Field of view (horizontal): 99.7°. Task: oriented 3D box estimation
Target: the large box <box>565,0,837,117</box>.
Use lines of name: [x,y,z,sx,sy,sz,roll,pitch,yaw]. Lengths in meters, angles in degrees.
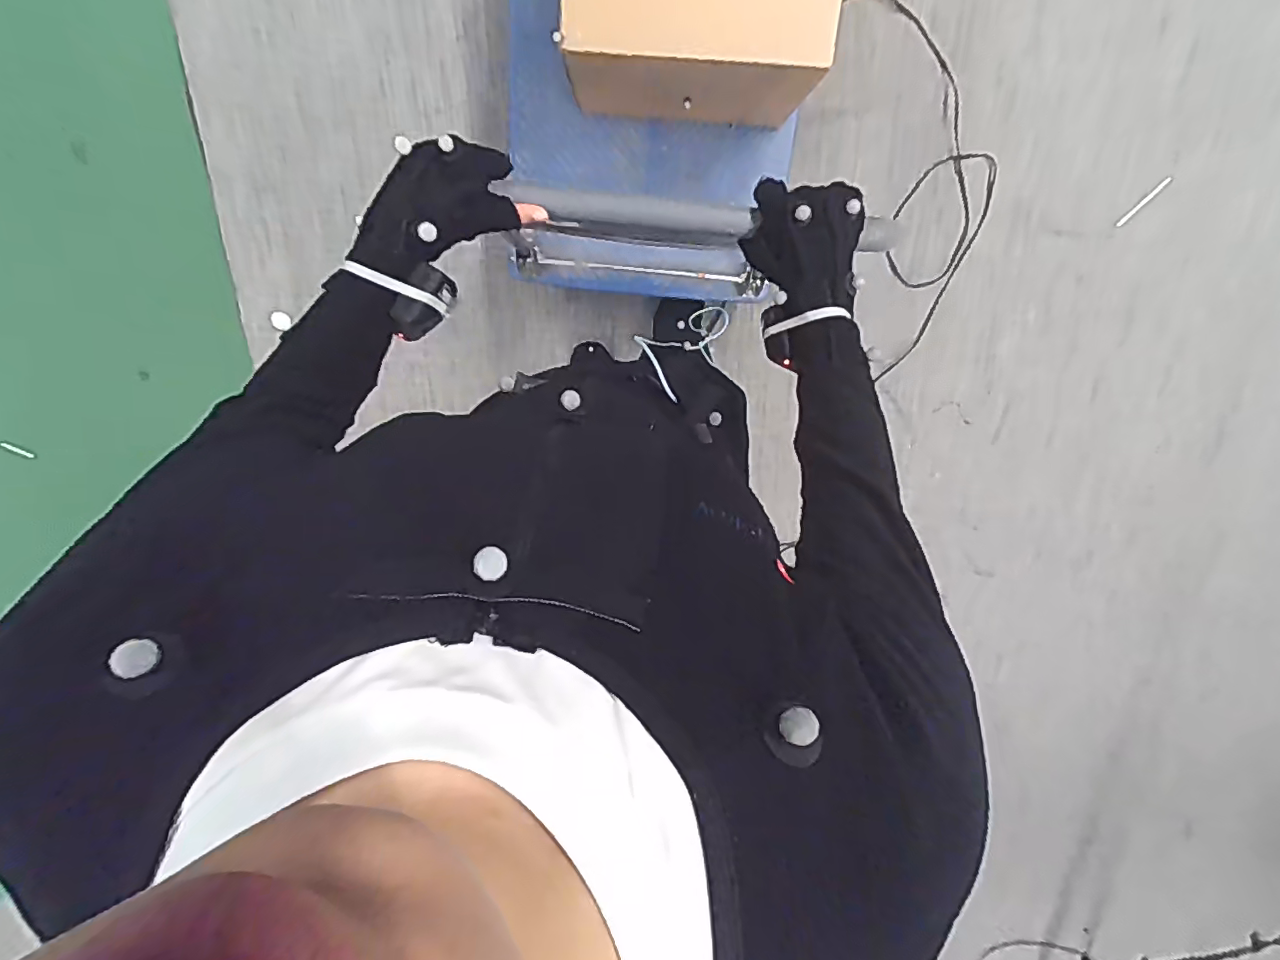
large box: [0.095,-0.827,0.900,0.408,0.320,0.320,3,109,0]
